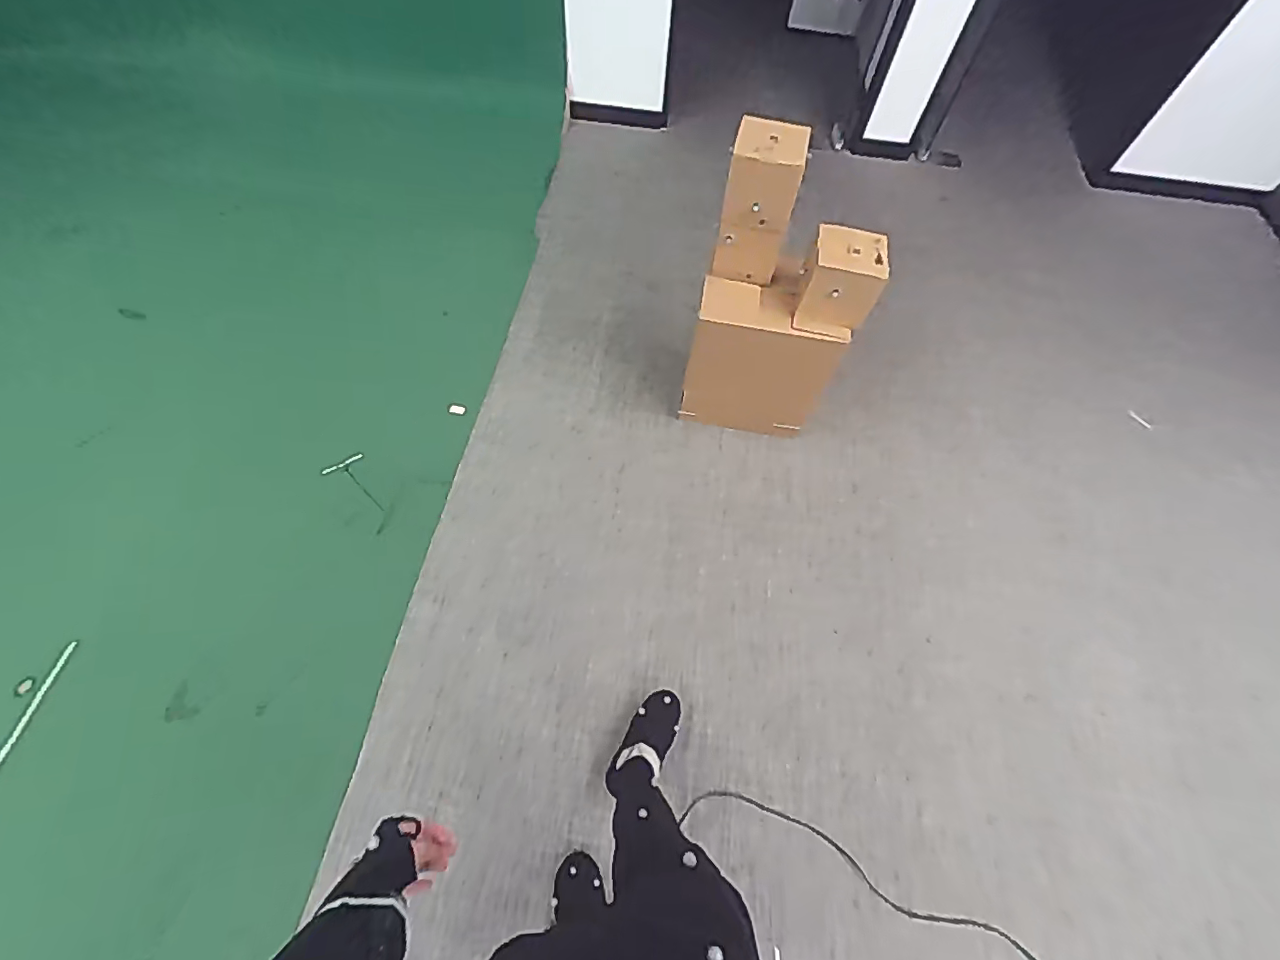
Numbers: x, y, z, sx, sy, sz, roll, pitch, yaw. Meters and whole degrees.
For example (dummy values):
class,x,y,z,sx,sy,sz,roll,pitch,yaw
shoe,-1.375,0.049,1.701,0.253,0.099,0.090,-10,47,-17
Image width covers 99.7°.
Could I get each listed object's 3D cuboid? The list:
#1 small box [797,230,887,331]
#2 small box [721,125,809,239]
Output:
class,x,y,z,sx,sy,sz,roll,pitch,yaw
small box,0.516,-0.509,1.397,0.179,0.176,0.168,11,63,4
small box,0.301,-0.727,1.324,0.168,0.176,0.179,13,60,6
